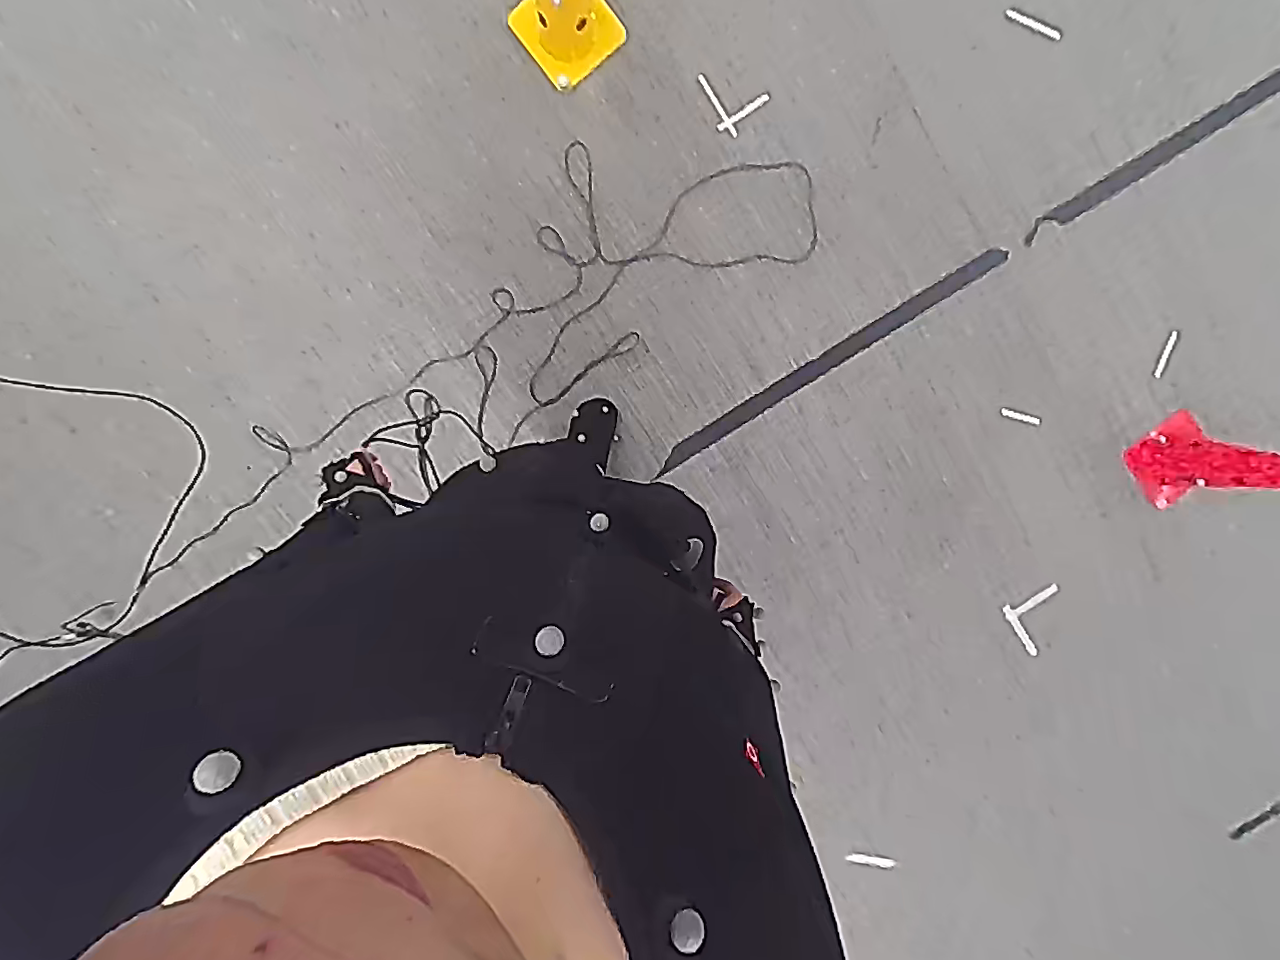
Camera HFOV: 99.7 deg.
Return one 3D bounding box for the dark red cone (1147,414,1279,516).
[{"bbox_3d":[1.399,-0.014,1.197,0.202,0.394,0.201,-40,97,4],"label":"dark red cone"}]
